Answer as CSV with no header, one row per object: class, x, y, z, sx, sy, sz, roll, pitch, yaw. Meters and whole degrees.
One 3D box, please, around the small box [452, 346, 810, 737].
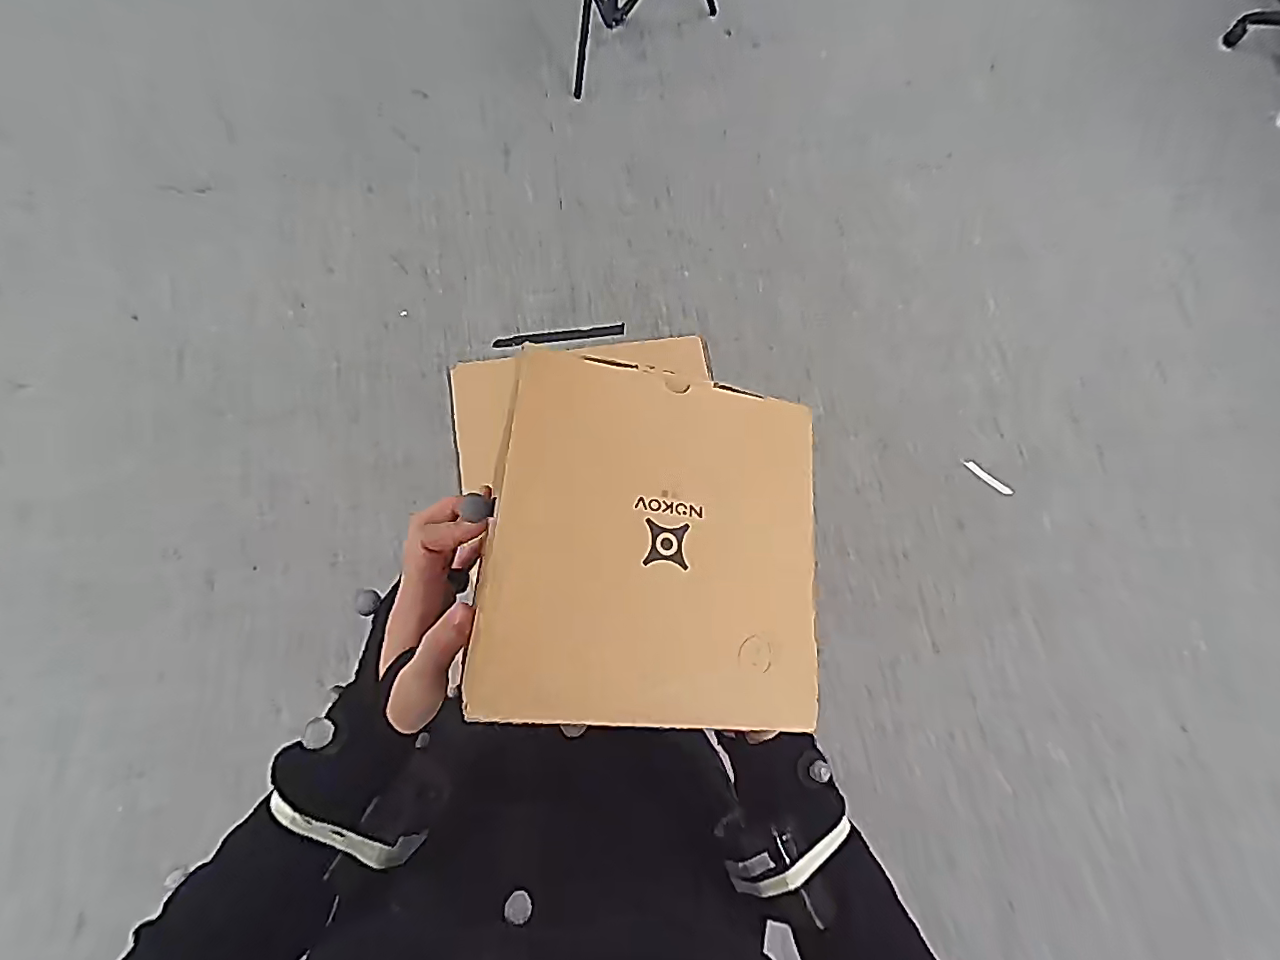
small box,-0.014,0.048,0.334,0.168,0.176,0.179,8,72,-15
